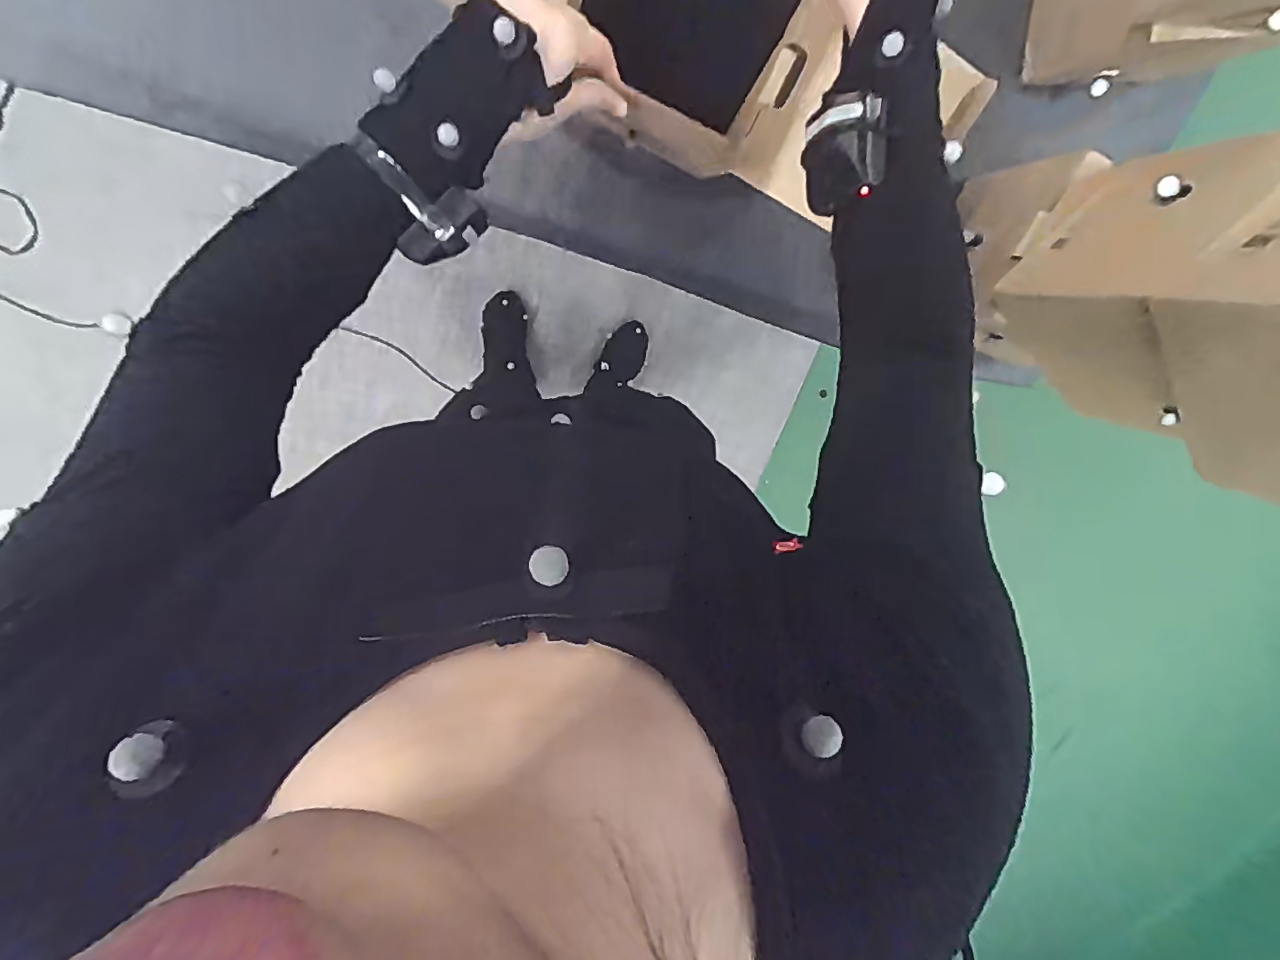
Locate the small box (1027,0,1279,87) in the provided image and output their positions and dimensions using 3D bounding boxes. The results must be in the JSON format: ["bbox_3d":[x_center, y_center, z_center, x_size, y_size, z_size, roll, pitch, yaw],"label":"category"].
[{"bbox_3d":[0.512,-0.498,0.508,0.168,0.176,0.179,-4,115,-2],"label":"small box"}]

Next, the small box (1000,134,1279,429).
[{"bbox_3d":[0.467,-0.160,0.469,0.179,0.176,0.168,41,101,-20],"label":"small box"}]

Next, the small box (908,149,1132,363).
[{"bbox_3d":[0.451,-0.235,0.615,0.179,0.176,0.168,20,107,-13],"label":"small box"}]

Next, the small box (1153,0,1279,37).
[{"bbox_3d":[0.510,-0.434,0.356,0.168,0.176,0.179,2,115,-4],"label":"small box"}]

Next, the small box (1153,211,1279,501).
[{"bbox_3d":[0.476,-0.079,0.324,0.168,0.176,0.179,-35,111,7],"label":"small box"}]
